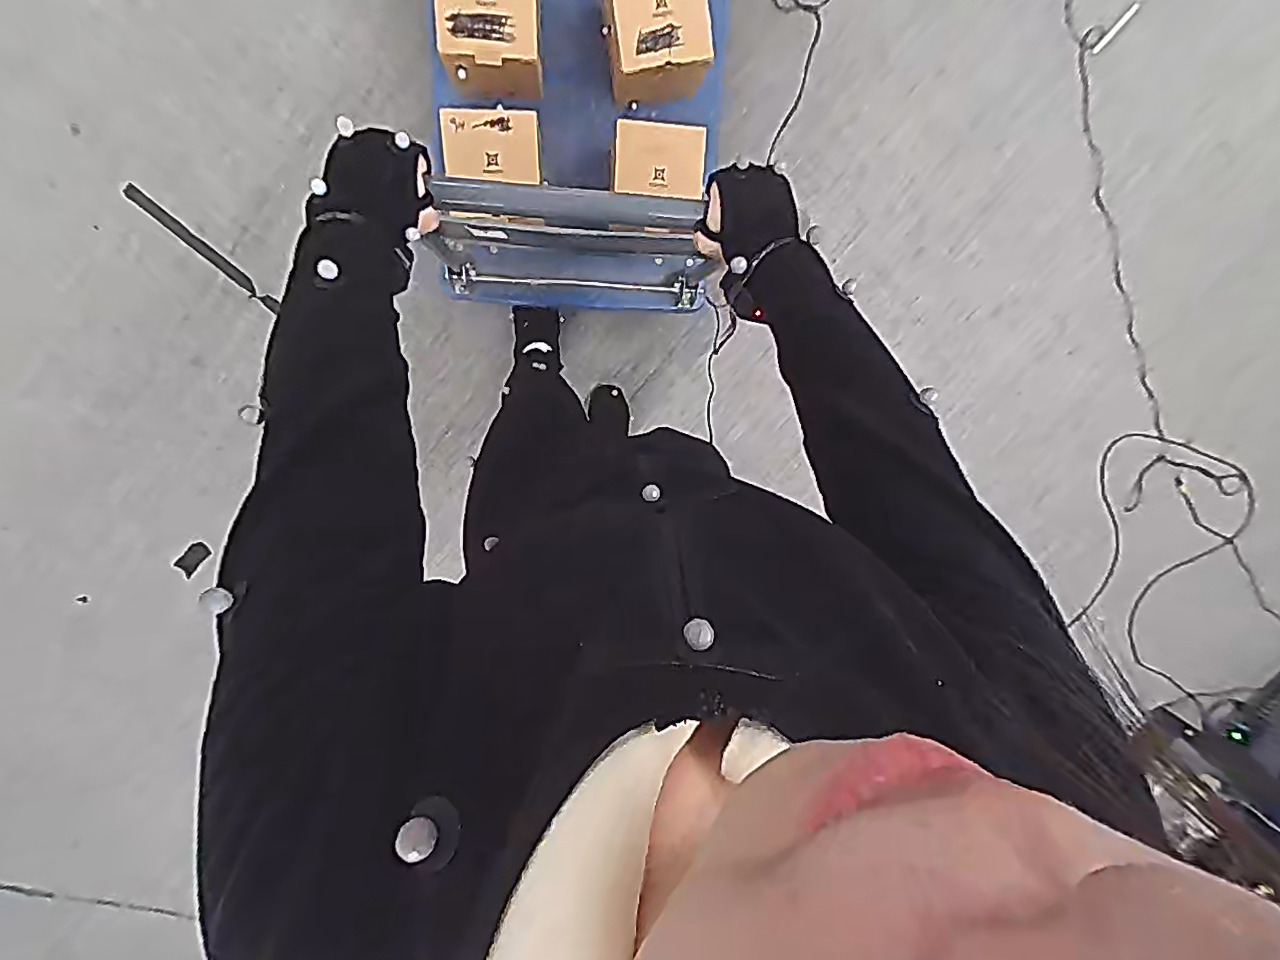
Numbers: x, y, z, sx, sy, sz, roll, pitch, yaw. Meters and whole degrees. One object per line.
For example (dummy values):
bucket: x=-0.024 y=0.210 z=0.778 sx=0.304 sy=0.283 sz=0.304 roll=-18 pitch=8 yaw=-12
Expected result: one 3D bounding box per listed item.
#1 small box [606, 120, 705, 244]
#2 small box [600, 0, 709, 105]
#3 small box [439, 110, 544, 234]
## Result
small box: x=0.023 y=-0.576 z=1.071 sx=0.168 sy=0.176 sz=0.179 roll=2 pitch=104 yaw=-8
small box: x=0.022 y=-0.824 z=1.001 sx=0.168 sy=0.176 sz=0.179 roll=-11 pitch=106 yaw=-4
small box: x=-0.273 y=-0.575 z=1.033 sx=0.168 sy=0.176 sz=0.179 roll=-3 pitch=106 yaw=-7
